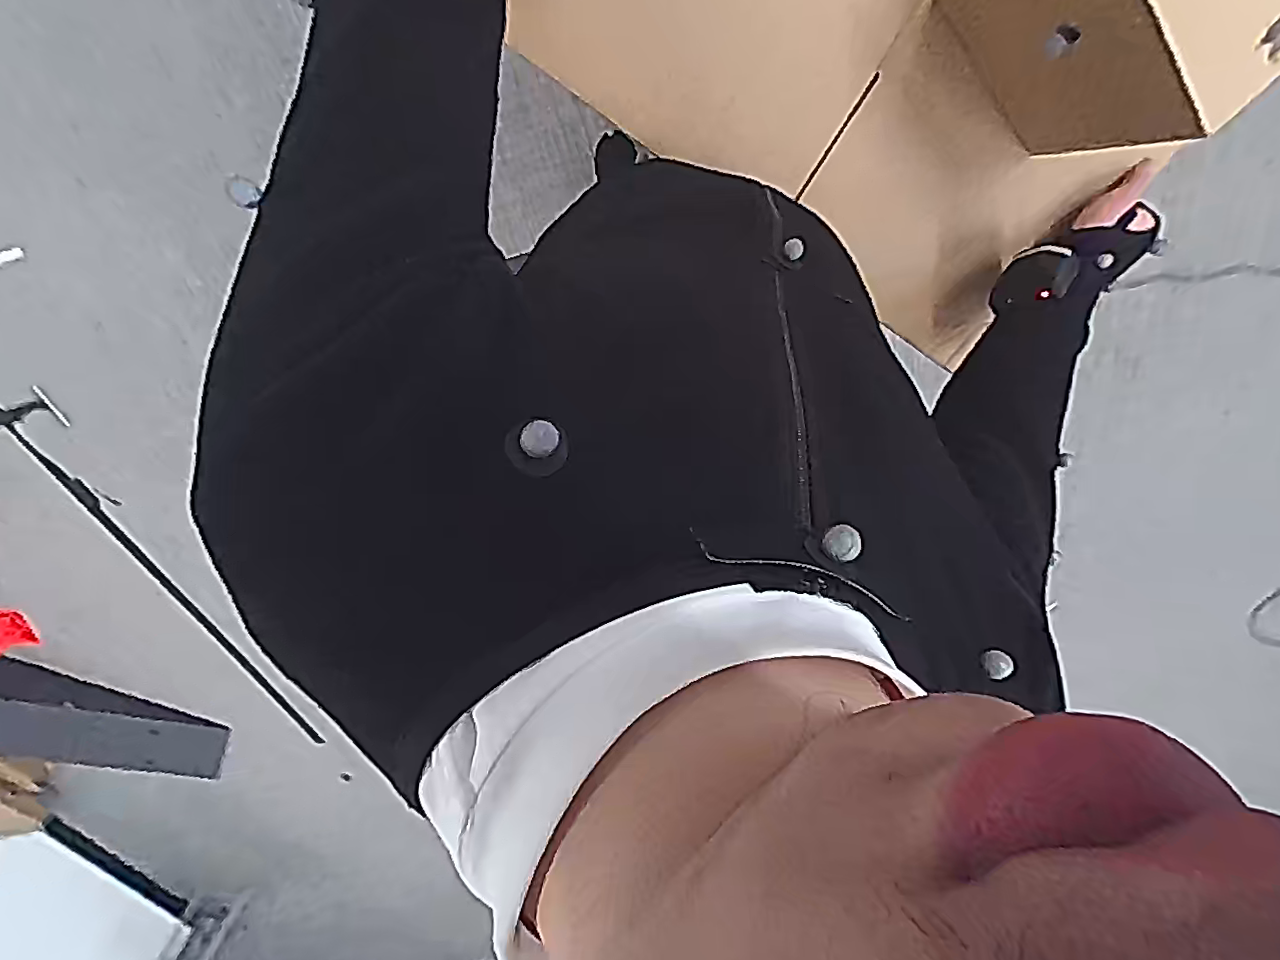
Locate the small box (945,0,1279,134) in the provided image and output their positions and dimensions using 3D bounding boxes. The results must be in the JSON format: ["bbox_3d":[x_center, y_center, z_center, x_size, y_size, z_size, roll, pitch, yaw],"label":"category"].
[{"bbox_3d":[0.368,-0.388,0.392,0.179,0.176,0.168,37,109,-20],"label":"small box"}]
